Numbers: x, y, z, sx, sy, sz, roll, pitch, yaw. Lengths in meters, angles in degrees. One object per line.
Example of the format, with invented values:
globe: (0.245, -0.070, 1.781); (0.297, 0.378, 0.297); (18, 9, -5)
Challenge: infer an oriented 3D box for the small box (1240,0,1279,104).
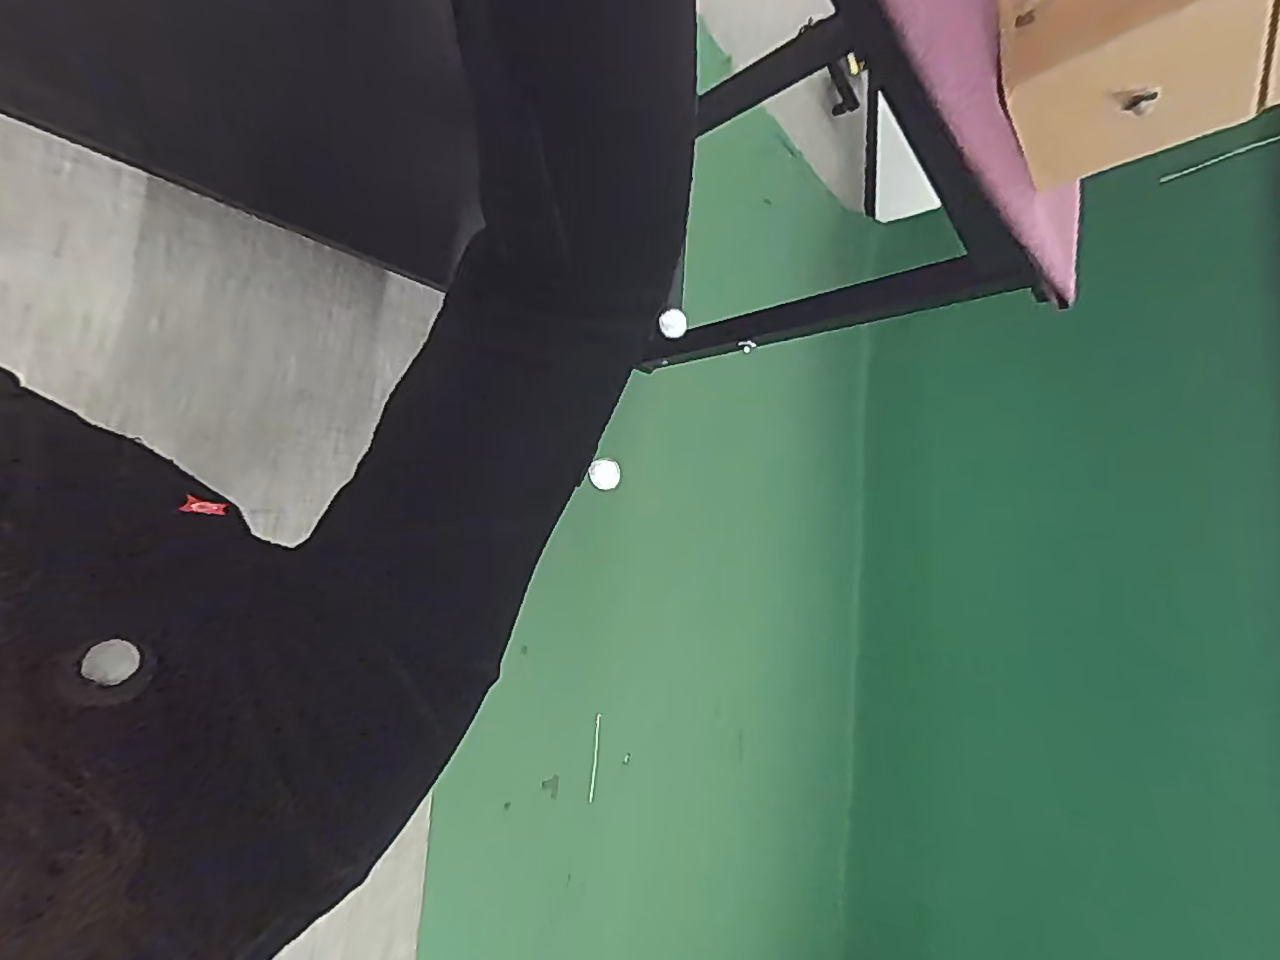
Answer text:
small box: (0.558, -0.426, 0.384); (0.168, 0.176, 0.179); (13, 78, -45)
